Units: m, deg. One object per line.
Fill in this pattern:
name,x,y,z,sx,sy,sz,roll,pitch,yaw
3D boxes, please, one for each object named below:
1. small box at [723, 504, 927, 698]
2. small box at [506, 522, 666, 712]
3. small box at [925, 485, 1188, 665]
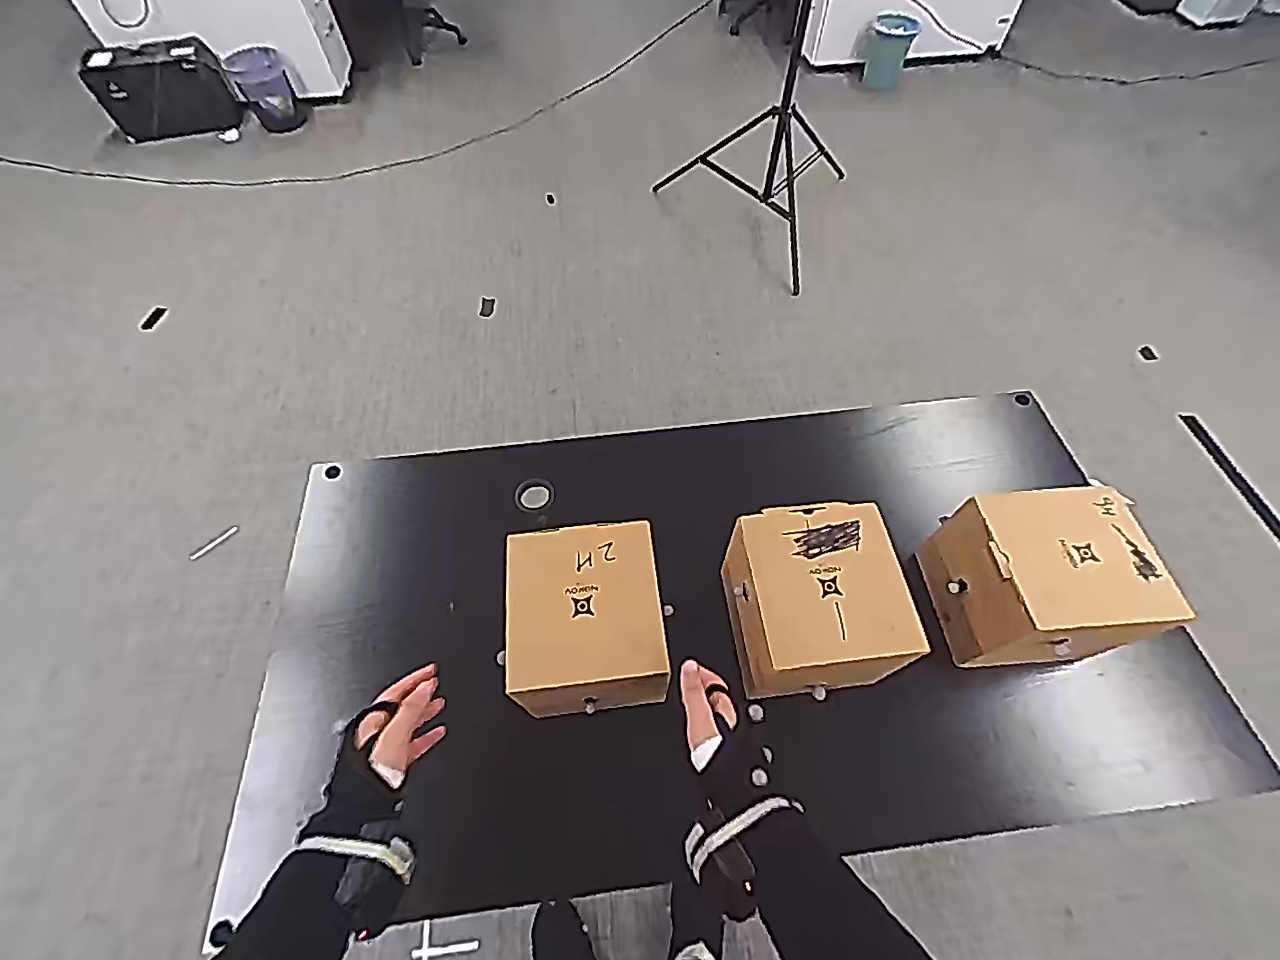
small box,0.204,0.151,0.657,0.168,0.176,0.179,-6,59,-3
small box,-0.060,0.171,0.647,0.168,0.176,0.179,-6,58,-3
small box,0.483,0.124,0.670,0.179,0.176,0.168,-4,58,-1
